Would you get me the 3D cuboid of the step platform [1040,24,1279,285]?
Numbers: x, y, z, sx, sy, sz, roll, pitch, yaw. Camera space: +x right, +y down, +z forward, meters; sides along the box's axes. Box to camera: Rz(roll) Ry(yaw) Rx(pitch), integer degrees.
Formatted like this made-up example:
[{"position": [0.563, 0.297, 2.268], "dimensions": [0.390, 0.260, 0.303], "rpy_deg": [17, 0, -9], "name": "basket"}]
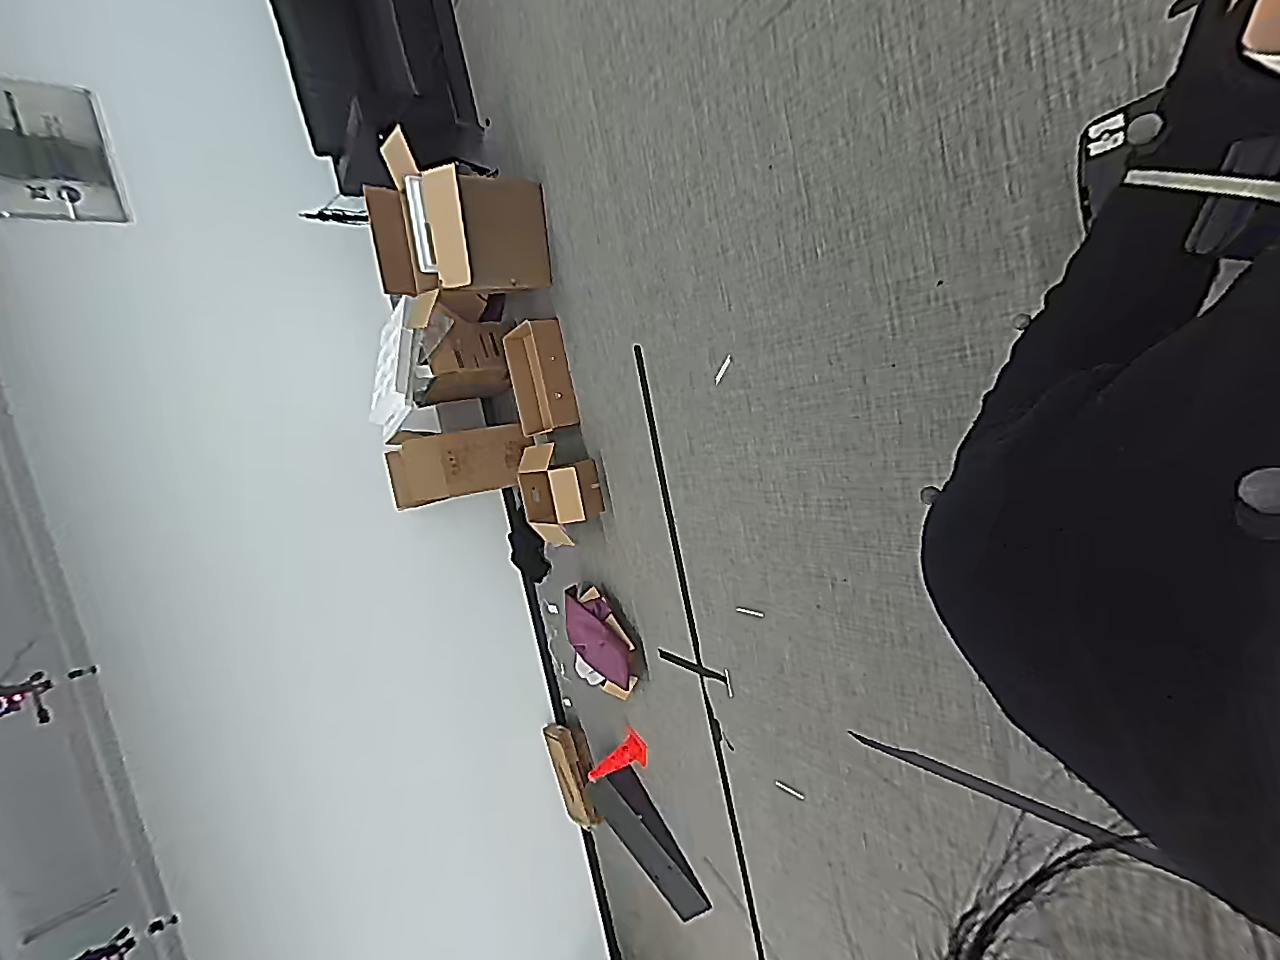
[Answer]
[{"position": [0.932, -0.491, 0.665], "dimensions": [0.684, 0.204, 0.286], "rpy_deg": [-6, 98, 55], "name": "step platform"}]
